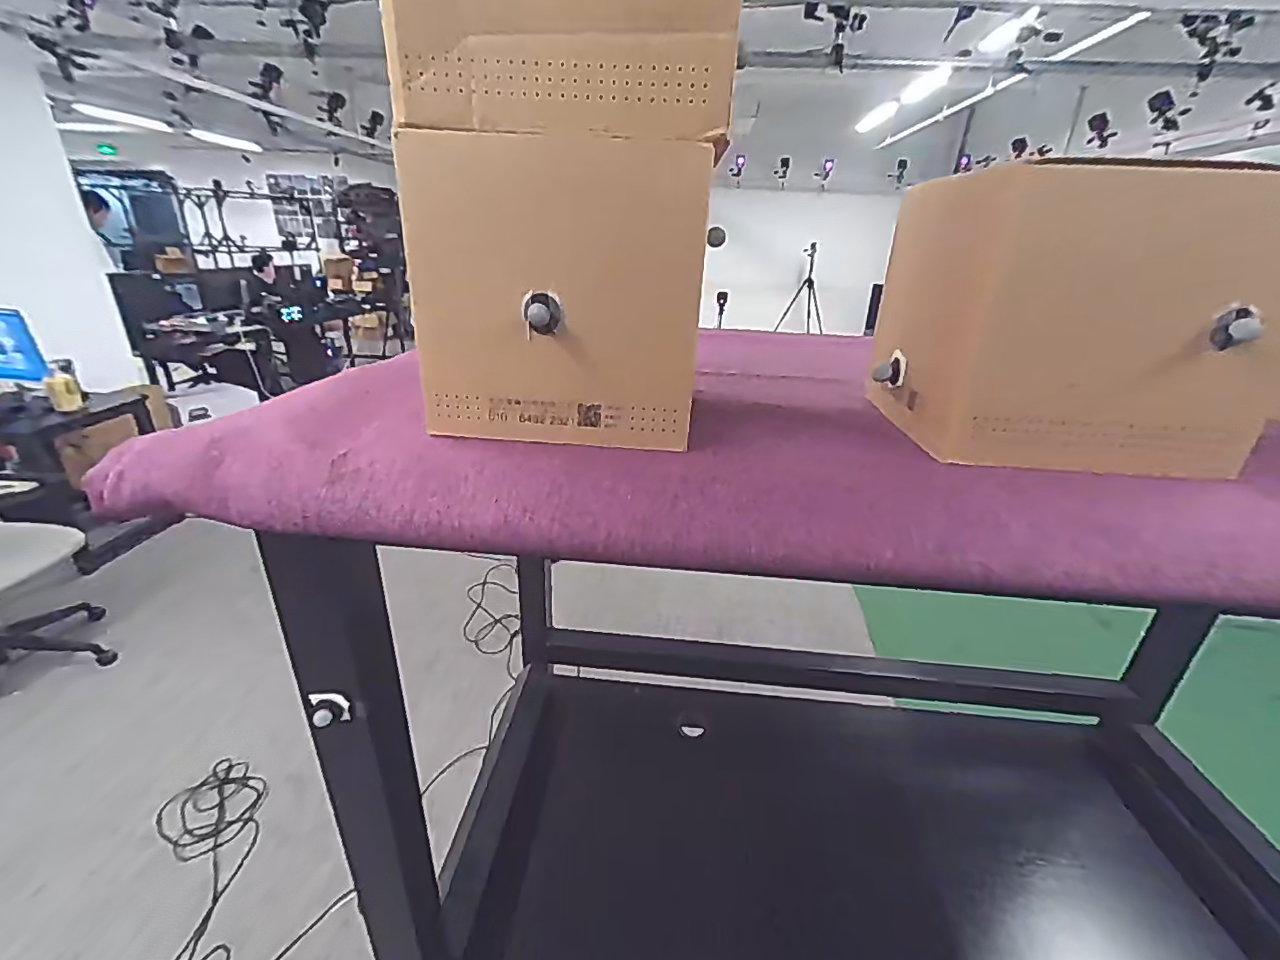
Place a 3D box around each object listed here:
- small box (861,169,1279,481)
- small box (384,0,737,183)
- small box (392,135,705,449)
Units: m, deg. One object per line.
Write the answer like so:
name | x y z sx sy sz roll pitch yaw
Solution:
small box | 0.276 -0.107 0.372 0.179 0.176 0.168 3 24 3
small box | -0.035 -0.277 0.314 0.179 0.176 0.168 4 25 1
small box | -0.044 -0.129 0.382 0.168 0.176 0.179 5 24 2
